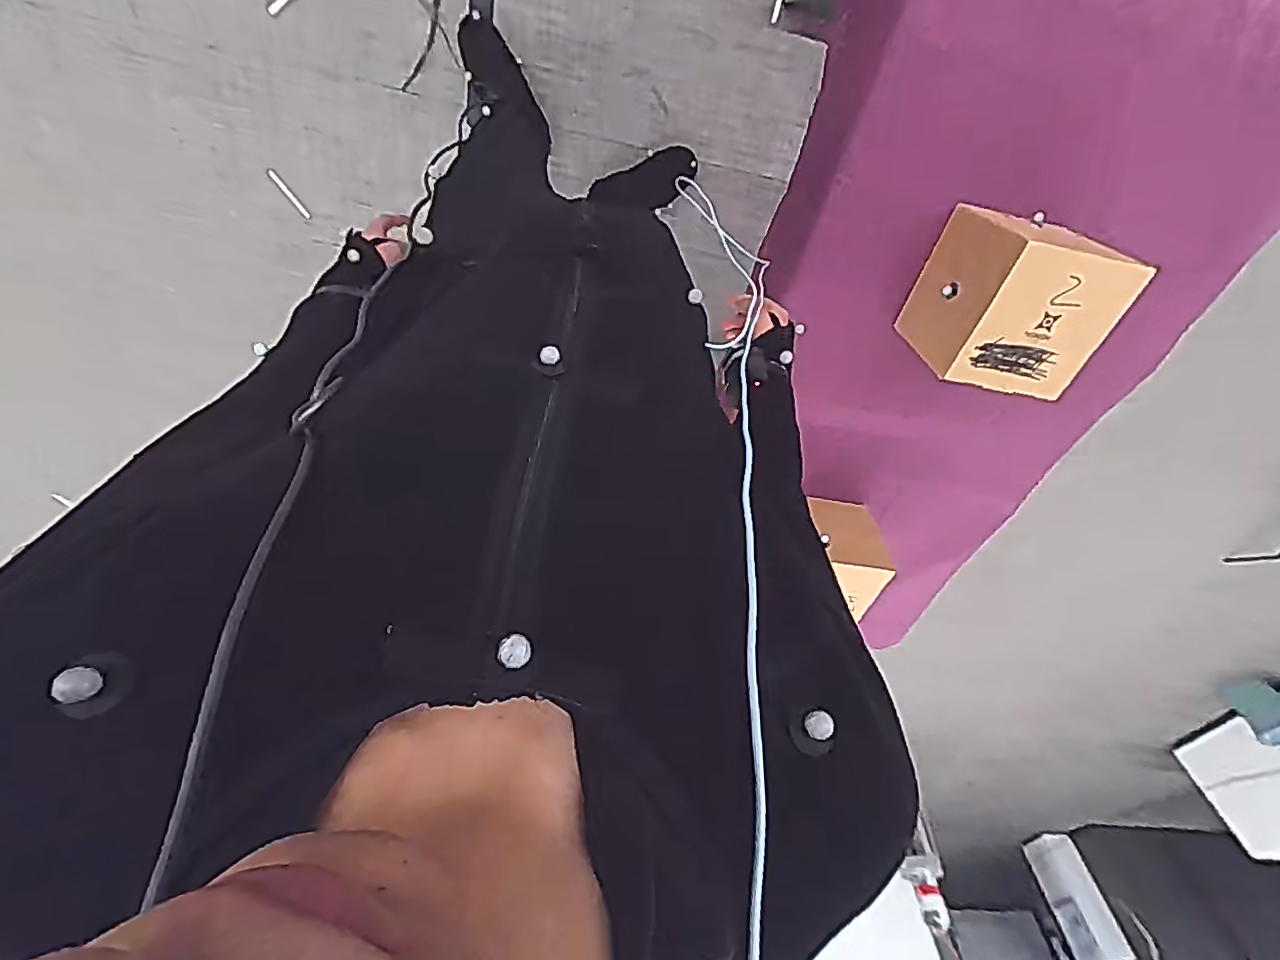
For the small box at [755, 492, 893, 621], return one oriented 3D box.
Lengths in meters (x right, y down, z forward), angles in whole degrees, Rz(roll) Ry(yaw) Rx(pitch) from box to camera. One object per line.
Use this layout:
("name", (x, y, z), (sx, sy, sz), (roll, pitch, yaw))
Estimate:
("small box", (0.334, 0.141, 1.029), (0.179, 0.176, 0.168), (9, 129, -9))
